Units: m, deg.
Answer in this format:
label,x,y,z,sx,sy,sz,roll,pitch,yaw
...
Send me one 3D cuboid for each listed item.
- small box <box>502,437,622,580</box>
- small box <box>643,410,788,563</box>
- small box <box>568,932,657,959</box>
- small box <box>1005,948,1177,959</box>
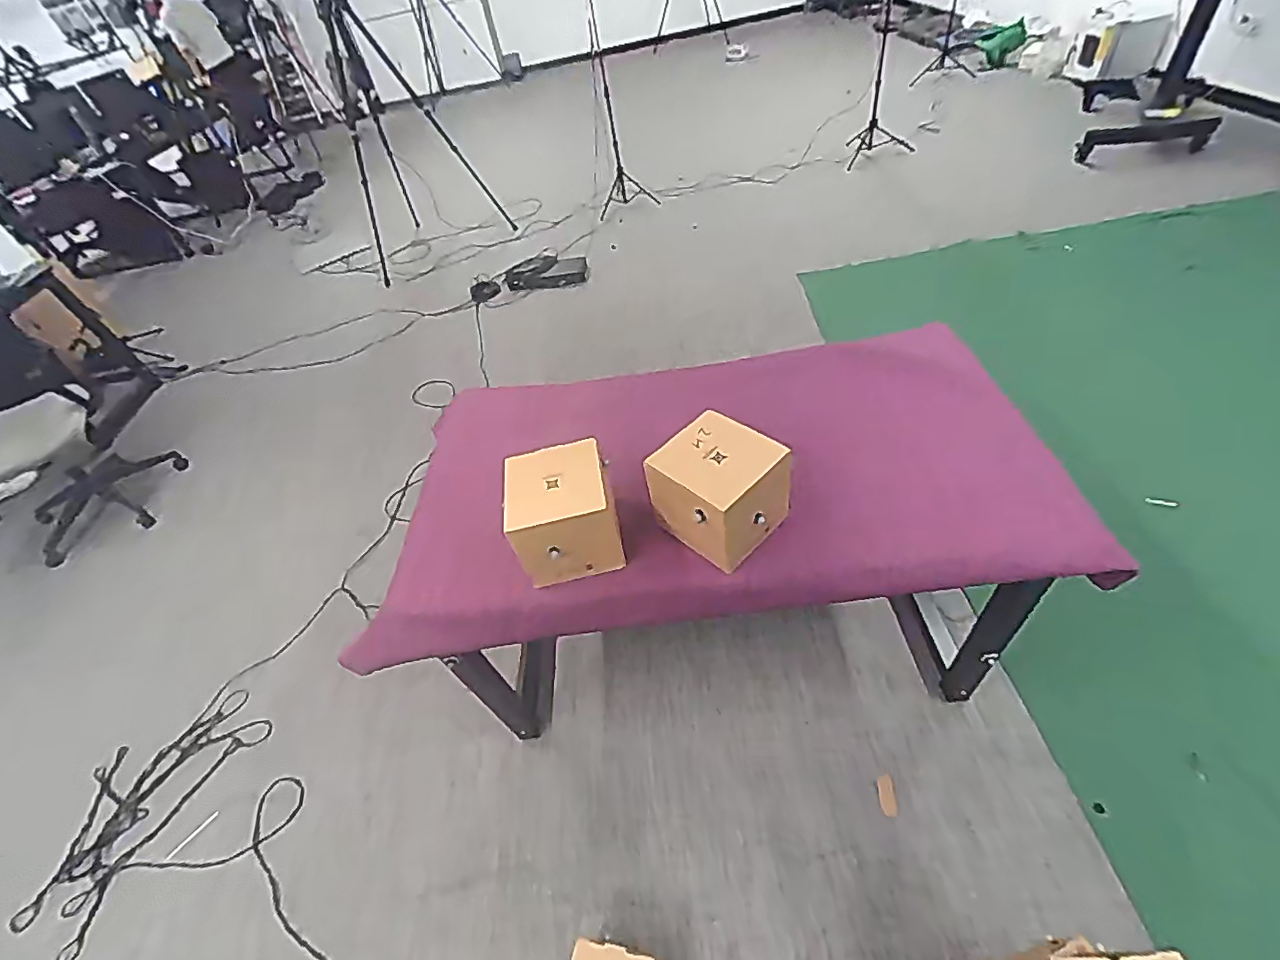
label,x,y,z,sx,sy,sz,roll,pitch,yaw
small box,-0.134,0.057,0.947,0.168,0.176,0.179,-13,45,0
small box,0.131,0.016,0.925,0.168,0.176,0.179,-38,51,-23
small box,-0.060,1.015,1.049,0.168,0.176,0.179,3,49,15
small box,0.622,0.734,0.709,0.168,0.176,0.179,-6,48,6
